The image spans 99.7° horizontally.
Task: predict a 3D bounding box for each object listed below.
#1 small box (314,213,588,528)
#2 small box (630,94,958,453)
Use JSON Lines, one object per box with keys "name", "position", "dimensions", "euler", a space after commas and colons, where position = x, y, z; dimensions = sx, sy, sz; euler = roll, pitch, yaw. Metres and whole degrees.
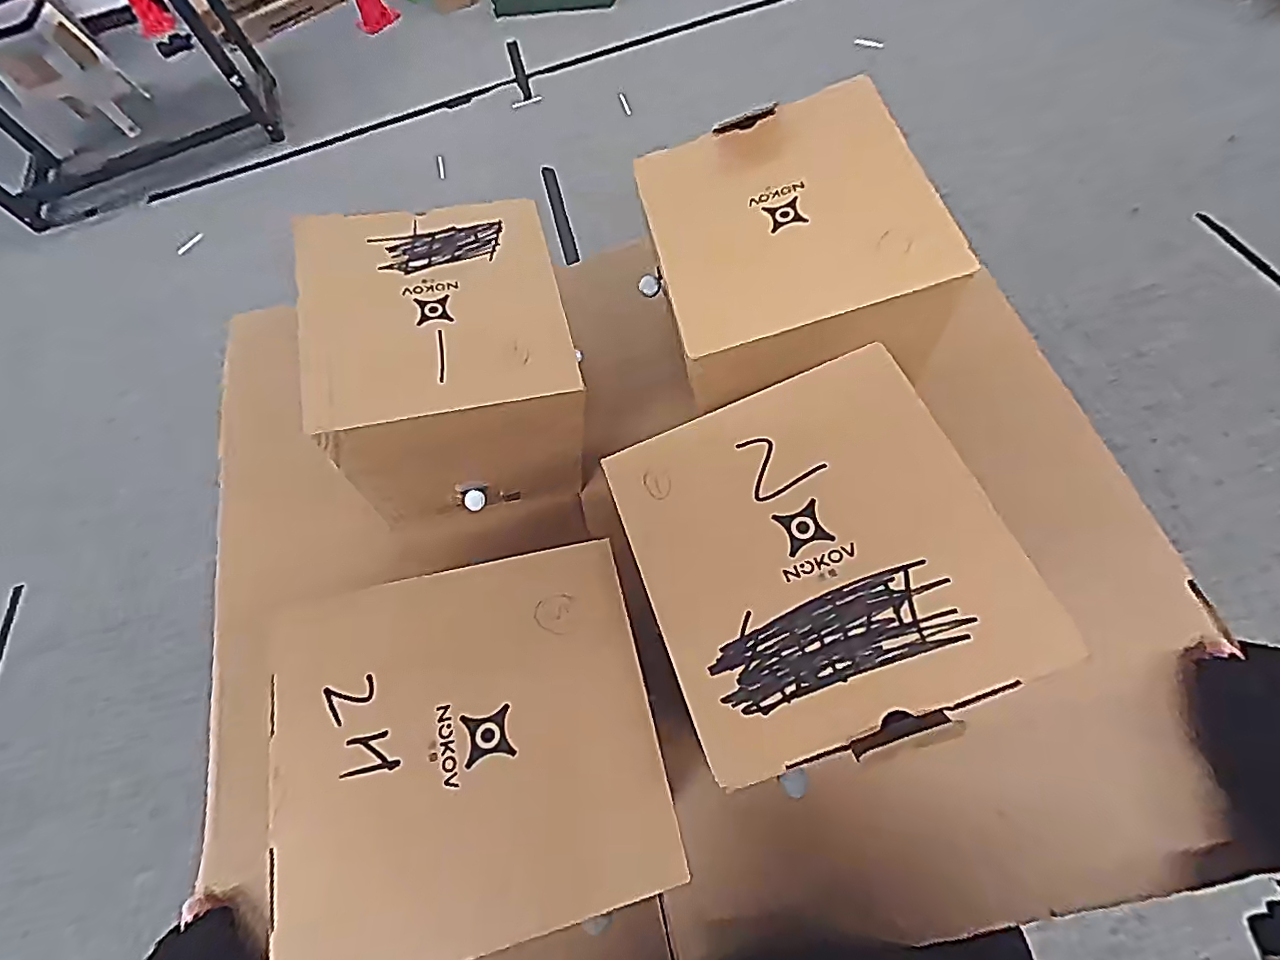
{"name": "small box", "position": [-0.141, -0.081, 0.440], "dimensions": [0.168, 0.176, 0.179], "euler": [-11, 68, -11]}
{"name": "small box", "position": [0.105, -0.136, 0.417], "dimensions": [0.168, 0.176, 0.179], "euler": [-16, 65, 7]}
